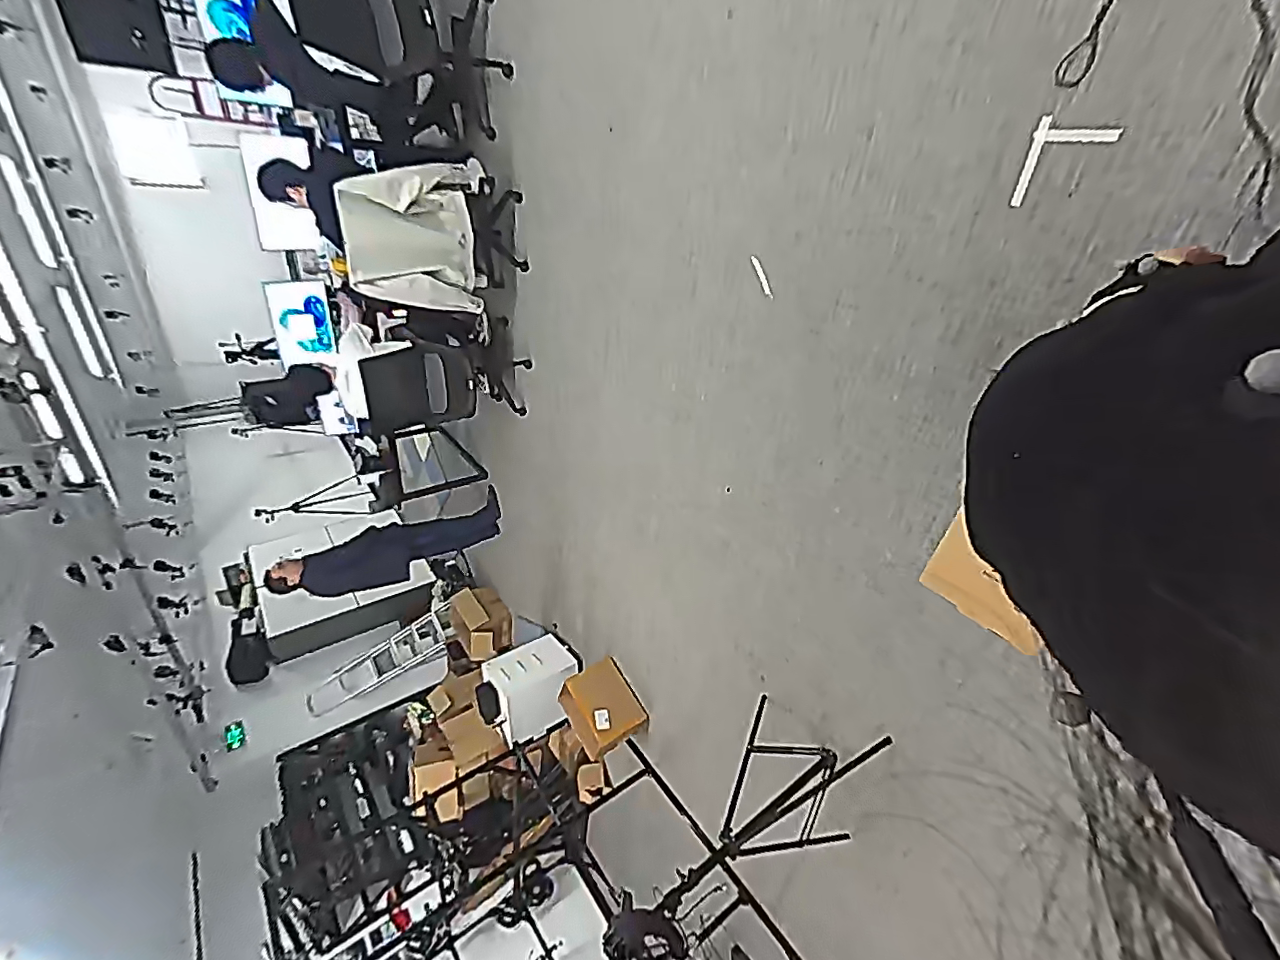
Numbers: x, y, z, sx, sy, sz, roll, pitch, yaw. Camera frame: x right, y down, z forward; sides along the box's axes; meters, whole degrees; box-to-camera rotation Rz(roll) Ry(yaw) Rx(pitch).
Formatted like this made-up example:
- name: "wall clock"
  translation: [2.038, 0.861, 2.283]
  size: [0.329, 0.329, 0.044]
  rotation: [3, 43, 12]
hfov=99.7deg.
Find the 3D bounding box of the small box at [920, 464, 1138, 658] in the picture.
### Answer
- name: "small box"
  translation: [0.533, 0.100, 0.744]
  size: [0.168, 0.176, 0.179]
  rotation: [40, 135, 38]
